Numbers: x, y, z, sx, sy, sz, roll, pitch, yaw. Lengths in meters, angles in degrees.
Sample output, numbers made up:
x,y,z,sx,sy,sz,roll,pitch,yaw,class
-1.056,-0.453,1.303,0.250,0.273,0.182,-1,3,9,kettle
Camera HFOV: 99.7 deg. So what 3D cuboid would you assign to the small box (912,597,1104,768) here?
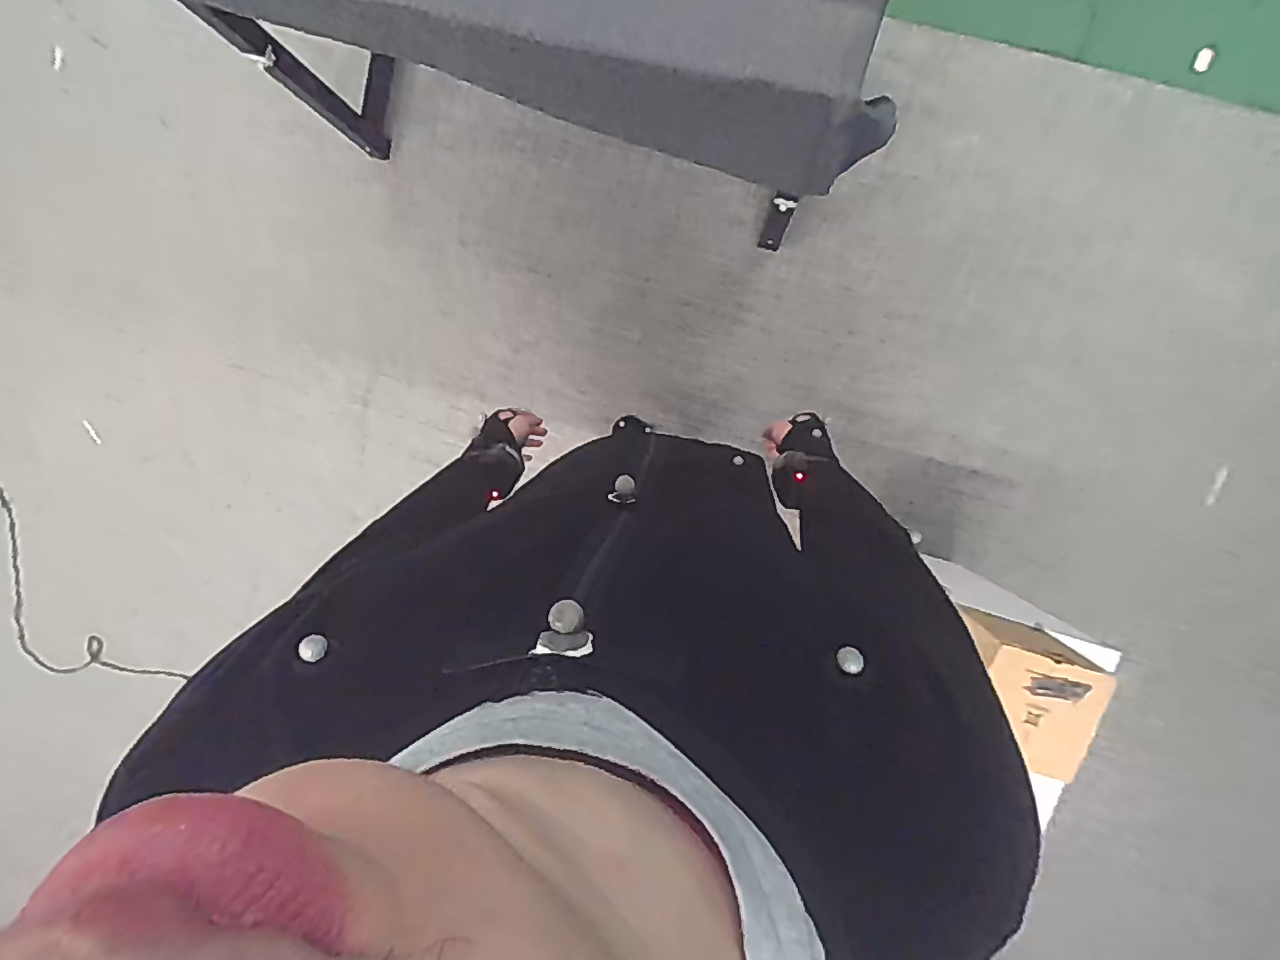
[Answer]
x,y,z,sx,sy,sz,roll,pitch,yaw,class
0.568,0.310,0.865,0.168,0.176,0.179,17,101,3,small box
